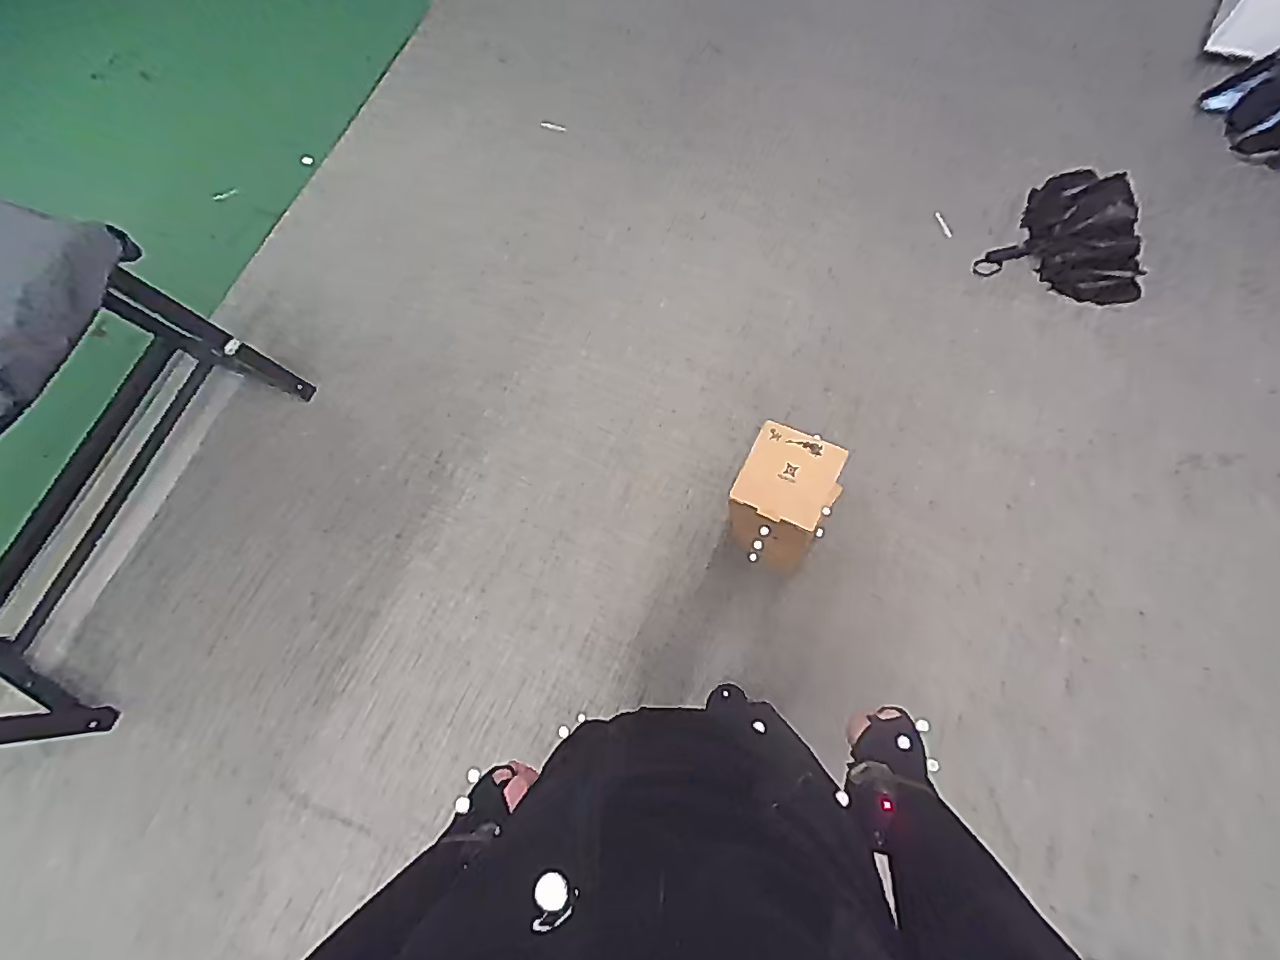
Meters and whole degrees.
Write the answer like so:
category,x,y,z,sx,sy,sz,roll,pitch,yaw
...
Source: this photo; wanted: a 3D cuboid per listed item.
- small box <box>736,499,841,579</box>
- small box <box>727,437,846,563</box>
category,x,y,z,sx,sy,sz,roll,pitch,yaw
small box,0.327,0.101,1.232,0.168,0.176,0.179,34,80,20
small box,0.289,0.047,1.083,0.168,0.176,0.179,25,77,18
